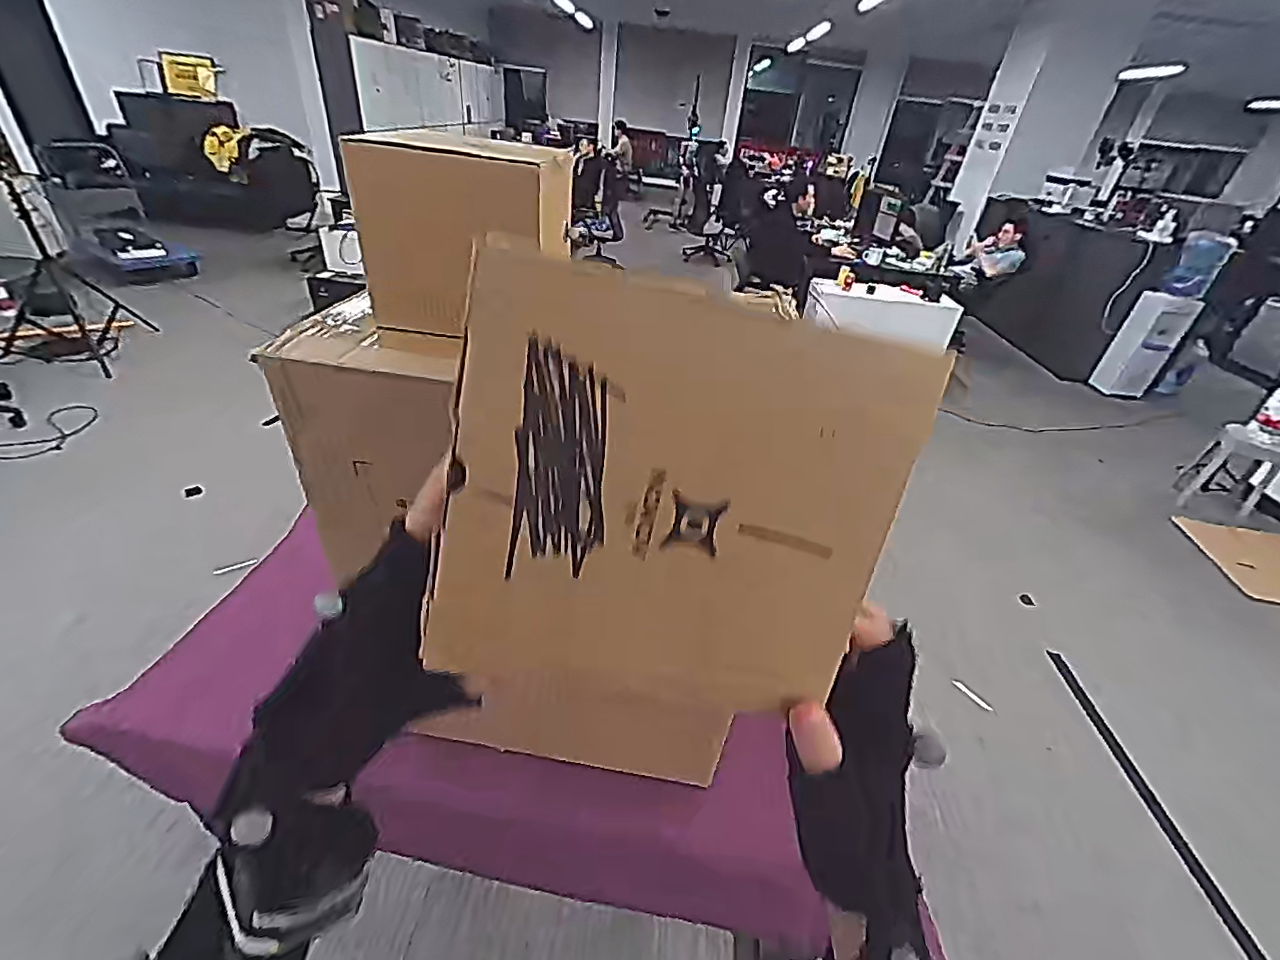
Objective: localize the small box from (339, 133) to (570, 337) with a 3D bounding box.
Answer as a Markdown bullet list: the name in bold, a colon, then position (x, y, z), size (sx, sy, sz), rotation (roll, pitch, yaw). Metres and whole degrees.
- **small box**: position (-0.175, -0.255, 0.571), size (0.179, 0.176, 0.168), rotation (6, 34, 0)

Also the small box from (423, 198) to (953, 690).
- **small box**: position (0.008, -0.022, 0.284), size (0.179, 0.168, 0.176), rotation (11, 16, -8)
